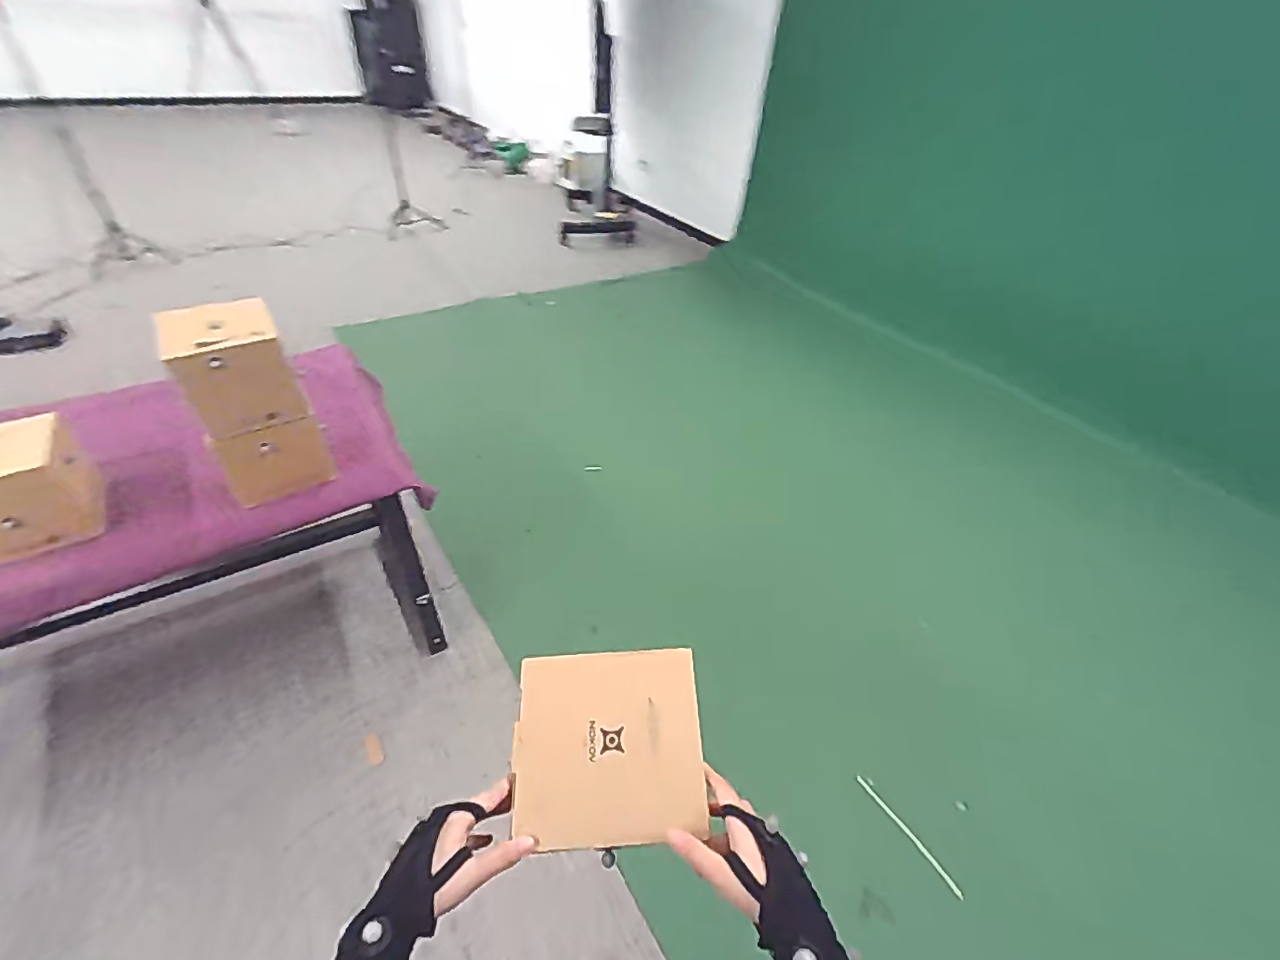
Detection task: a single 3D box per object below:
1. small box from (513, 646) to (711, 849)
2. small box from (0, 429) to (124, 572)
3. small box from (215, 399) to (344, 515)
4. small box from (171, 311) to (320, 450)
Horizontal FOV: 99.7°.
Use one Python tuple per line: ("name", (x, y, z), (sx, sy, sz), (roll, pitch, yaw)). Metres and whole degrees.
("small box", (-0.023, 0.289, 0.575), (0.179, 0.176, 0.168), (-5, 56, 0))
("small box", (-1.068, 0.041, 0.963), (0.168, 0.176, 0.179), (-22, 46, -27))
("small box", (-0.730, -0.060, 1.104), (0.179, 0.176, 0.168), (-24, 50, -26))
("small box", (-0.721, -0.184, 0.996), (0.168, 0.176, 0.179), (-24, 49, -25))
